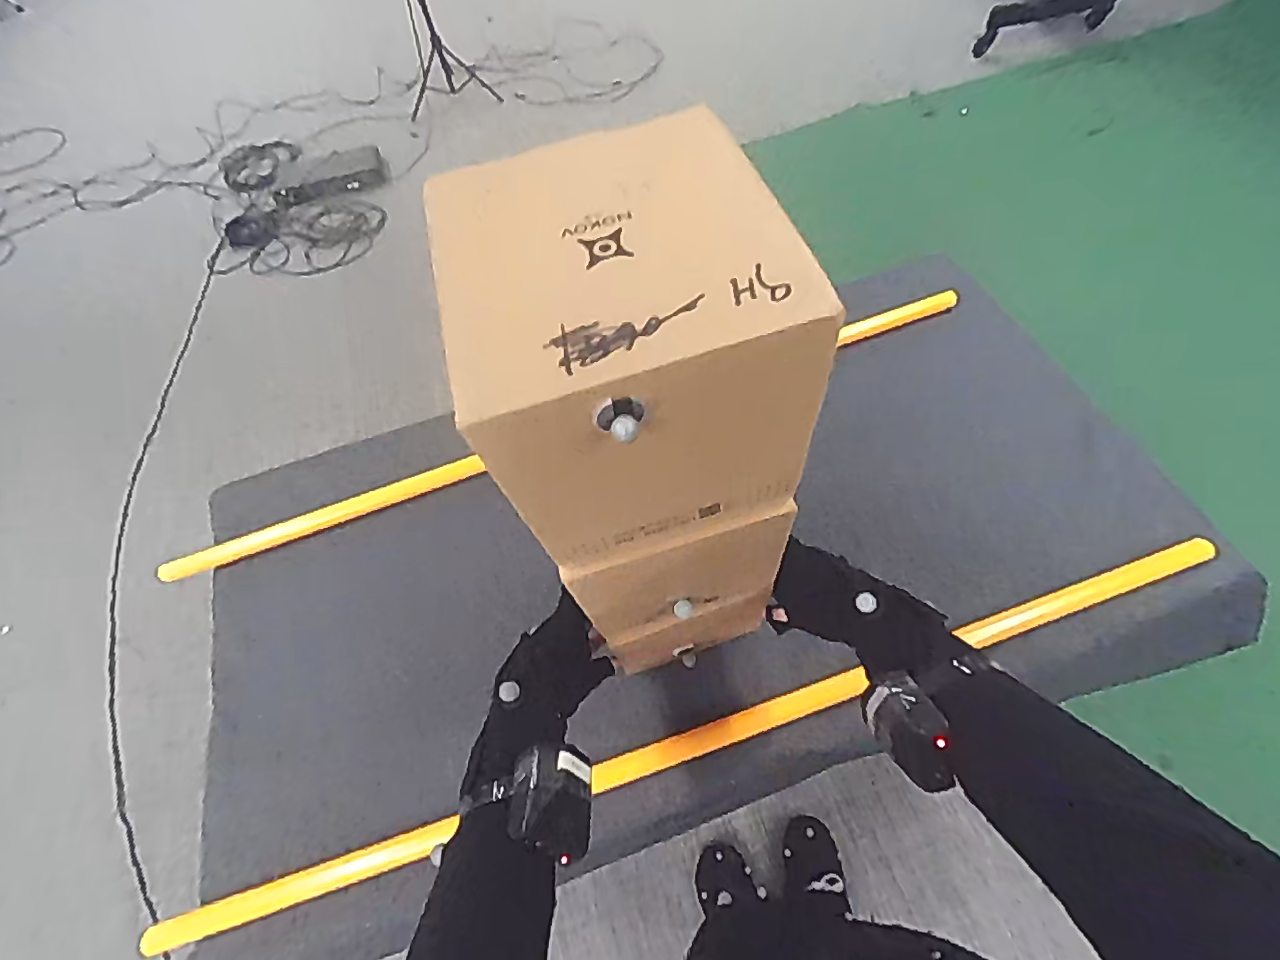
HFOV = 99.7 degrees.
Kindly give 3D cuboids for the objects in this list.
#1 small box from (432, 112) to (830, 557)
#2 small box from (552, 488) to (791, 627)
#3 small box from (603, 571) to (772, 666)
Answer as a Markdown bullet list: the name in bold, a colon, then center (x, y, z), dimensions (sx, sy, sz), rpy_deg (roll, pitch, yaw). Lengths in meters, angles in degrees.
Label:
- **small box**: center (-0.009, -0.078, 0.333), dimensions (0.168, 0.176, 0.179), rpy_deg (-17, 60, -1)
- **small box**: center (0.012, 0.007, 0.472), dimensions (0.168, 0.176, 0.179), rpy_deg (-17, 61, -1)
- **small box**: center (0.031, 0.089, 0.614), dimensions (0.168, 0.176, 0.179), rpy_deg (-20, 62, -3)
